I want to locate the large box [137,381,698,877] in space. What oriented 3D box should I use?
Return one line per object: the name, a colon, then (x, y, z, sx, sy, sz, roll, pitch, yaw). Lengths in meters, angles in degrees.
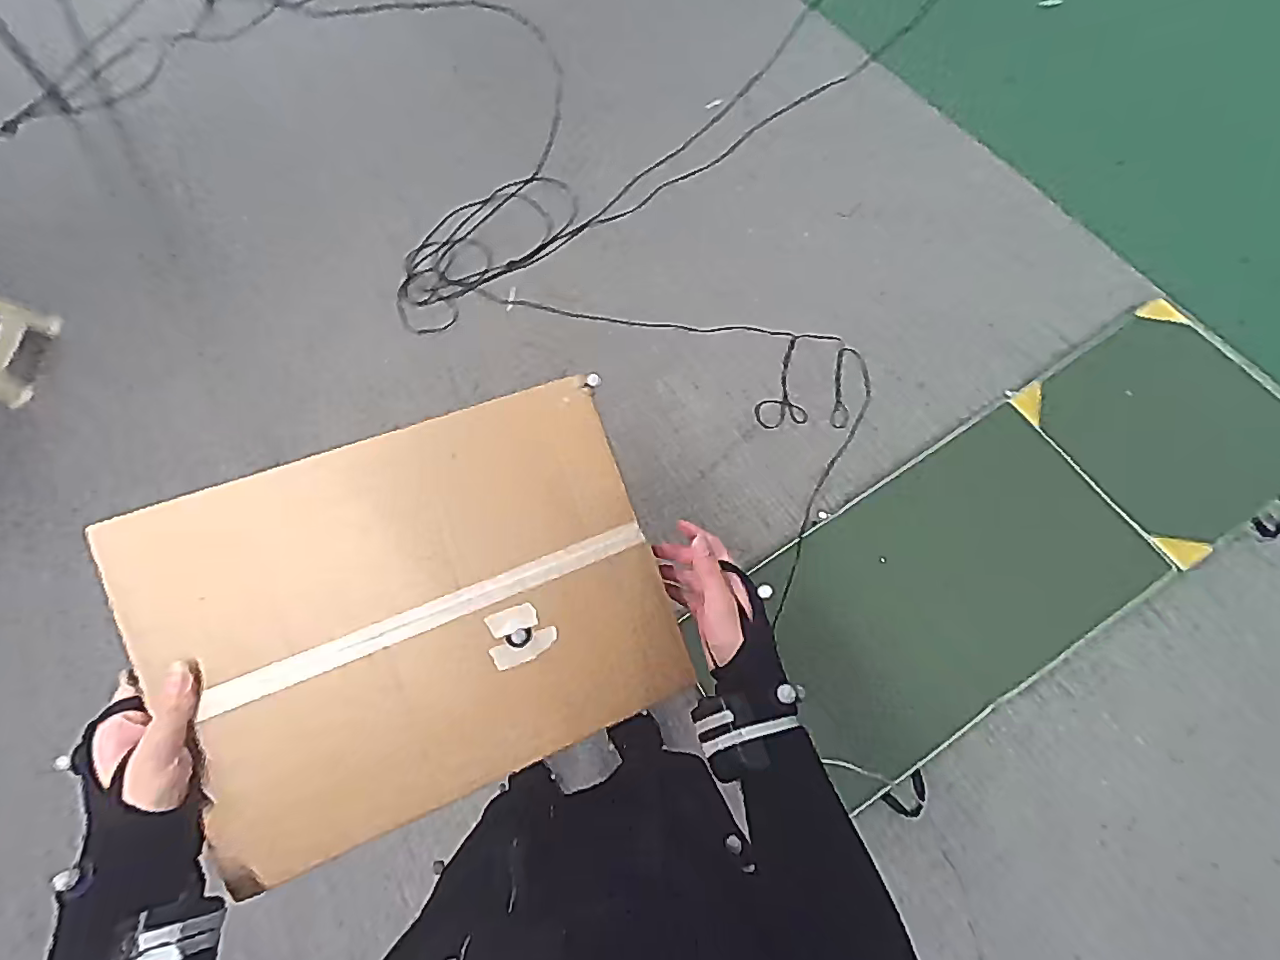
large box: (-0.207, 0.123, 0.620, 0.408, 0.320, 0.320, -19, 91, -14)
